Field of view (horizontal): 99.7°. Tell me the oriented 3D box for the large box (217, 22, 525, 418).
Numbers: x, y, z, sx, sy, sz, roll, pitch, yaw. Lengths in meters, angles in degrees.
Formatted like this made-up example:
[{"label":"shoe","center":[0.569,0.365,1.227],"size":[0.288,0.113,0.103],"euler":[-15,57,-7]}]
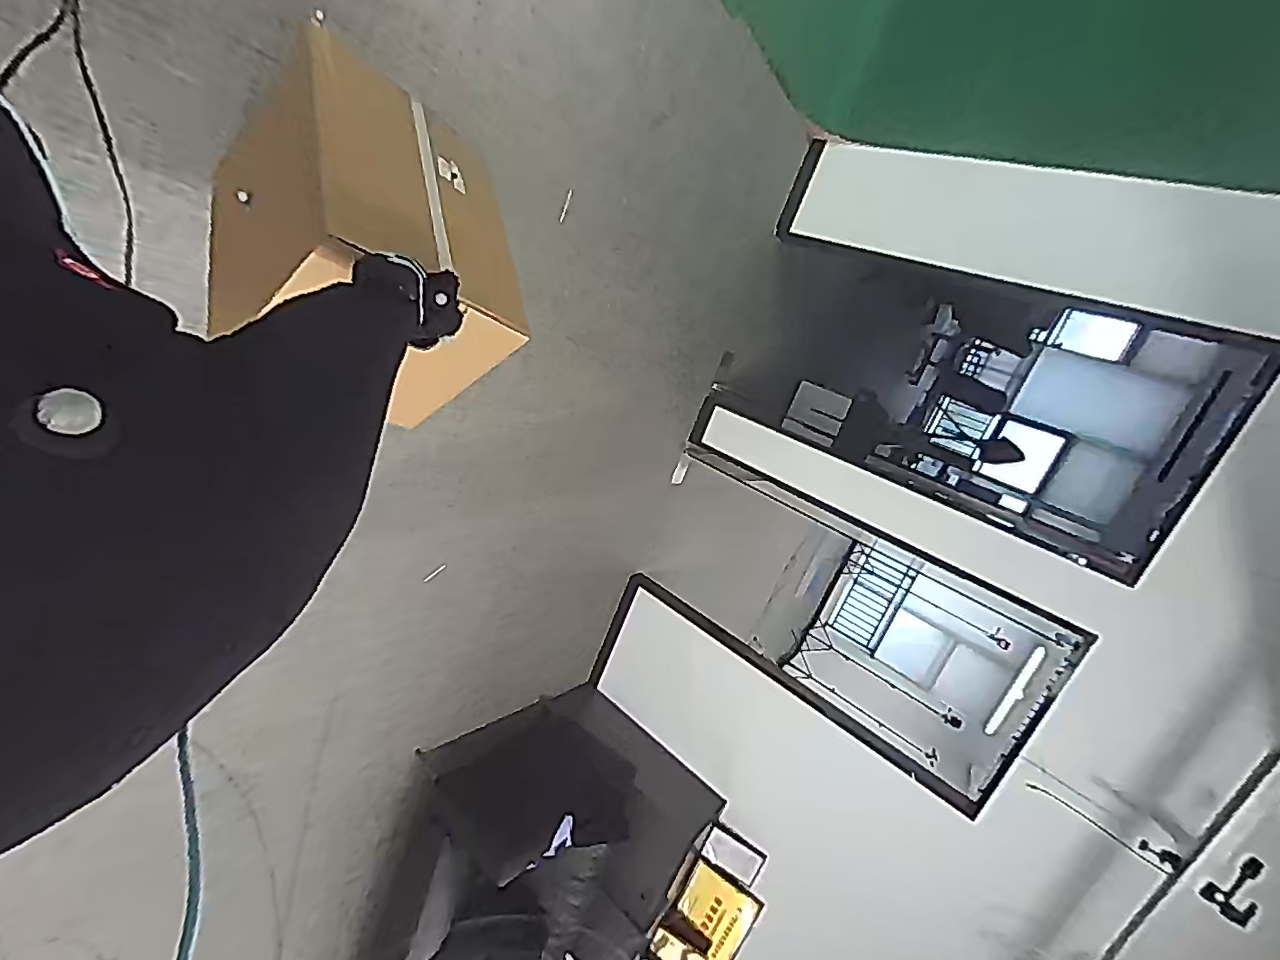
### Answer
[{"label":"large box","center":[-0.435,-0.365,0.863],"size":[0.320,0.408,0.320],"euler":[-27,157,27]}]
